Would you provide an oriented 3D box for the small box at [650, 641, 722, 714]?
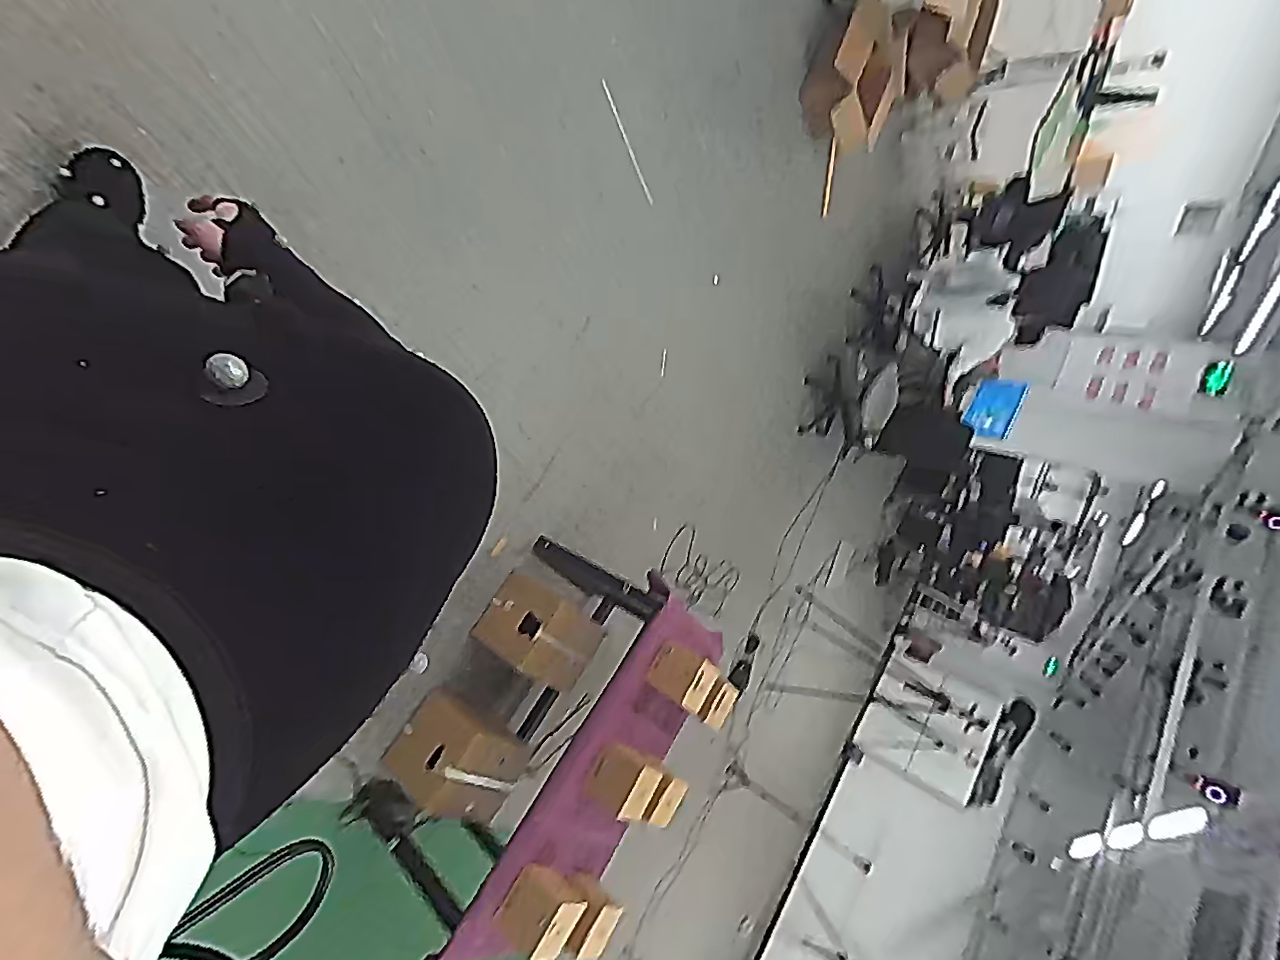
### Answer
[{"bbox_3d":[0.162,0.693,1.908,0.168,0.176,0.179,-57,142,-17],"label":"small box"}]

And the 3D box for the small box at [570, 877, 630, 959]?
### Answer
[{"bbox_3d":[-0.170,1.499,1.848,0.168,0.176,0.179,-57,140,-21],"label":"small box"}]

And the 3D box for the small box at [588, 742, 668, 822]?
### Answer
[{"bbox_3d":[-0.039,1.002,1.797,0.168,0.176,0.179,-58,142,-18],"label":"small box"}]

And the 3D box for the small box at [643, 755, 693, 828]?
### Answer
[{"bbox_3d":[0.063,1.144,1.991,0.168,0.176,0.179,-56,140,-18],"label":"small box"}]

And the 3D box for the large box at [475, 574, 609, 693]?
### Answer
[{"bbox_3d":[-0.405,0.646,2.280,0.320,0.320,0.408,-57,142,-16],"label":"large box"}]

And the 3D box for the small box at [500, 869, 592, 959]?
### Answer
[{"bbox_3d":[-0.281,1.308,1.624,0.168,0.176,0.179,-56,143,-21],"label":"small box"}]
